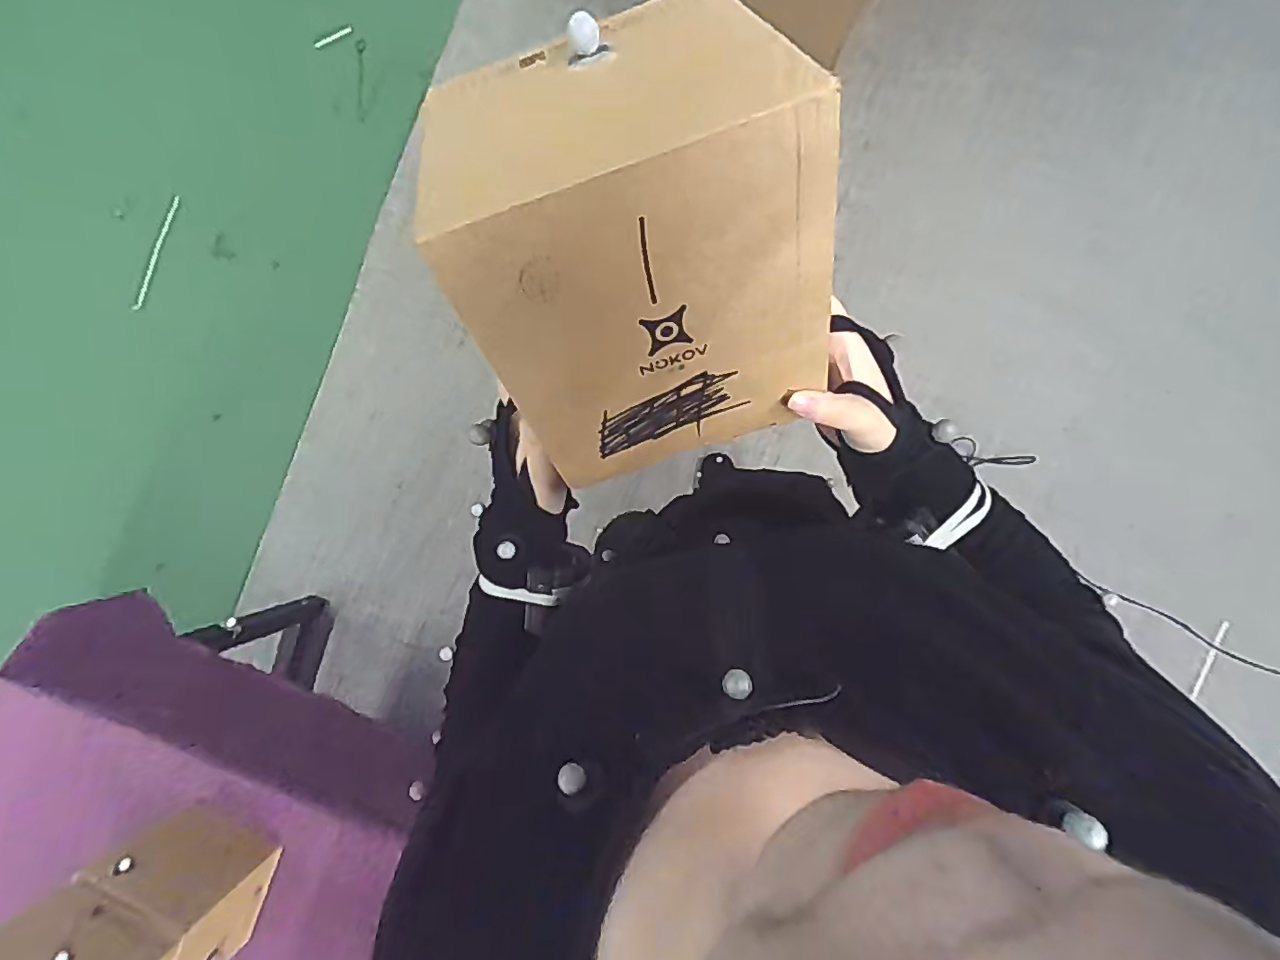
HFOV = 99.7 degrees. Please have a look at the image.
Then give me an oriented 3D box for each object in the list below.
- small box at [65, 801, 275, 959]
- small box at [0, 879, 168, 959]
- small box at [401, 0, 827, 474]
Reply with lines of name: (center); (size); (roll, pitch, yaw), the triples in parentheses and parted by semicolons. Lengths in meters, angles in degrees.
small box: (-0.672, 0.603, 0.768); (0.179, 0.176, 0.168); (22, 92, 6)
small box: (-0.692, 0.608, 0.605); (0.168, 0.176, 0.179); (24, 93, 6)
small box: (-0.007, -0.136, 0.311); (0.168, 0.179, 0.176); (-17, 52, 5)
